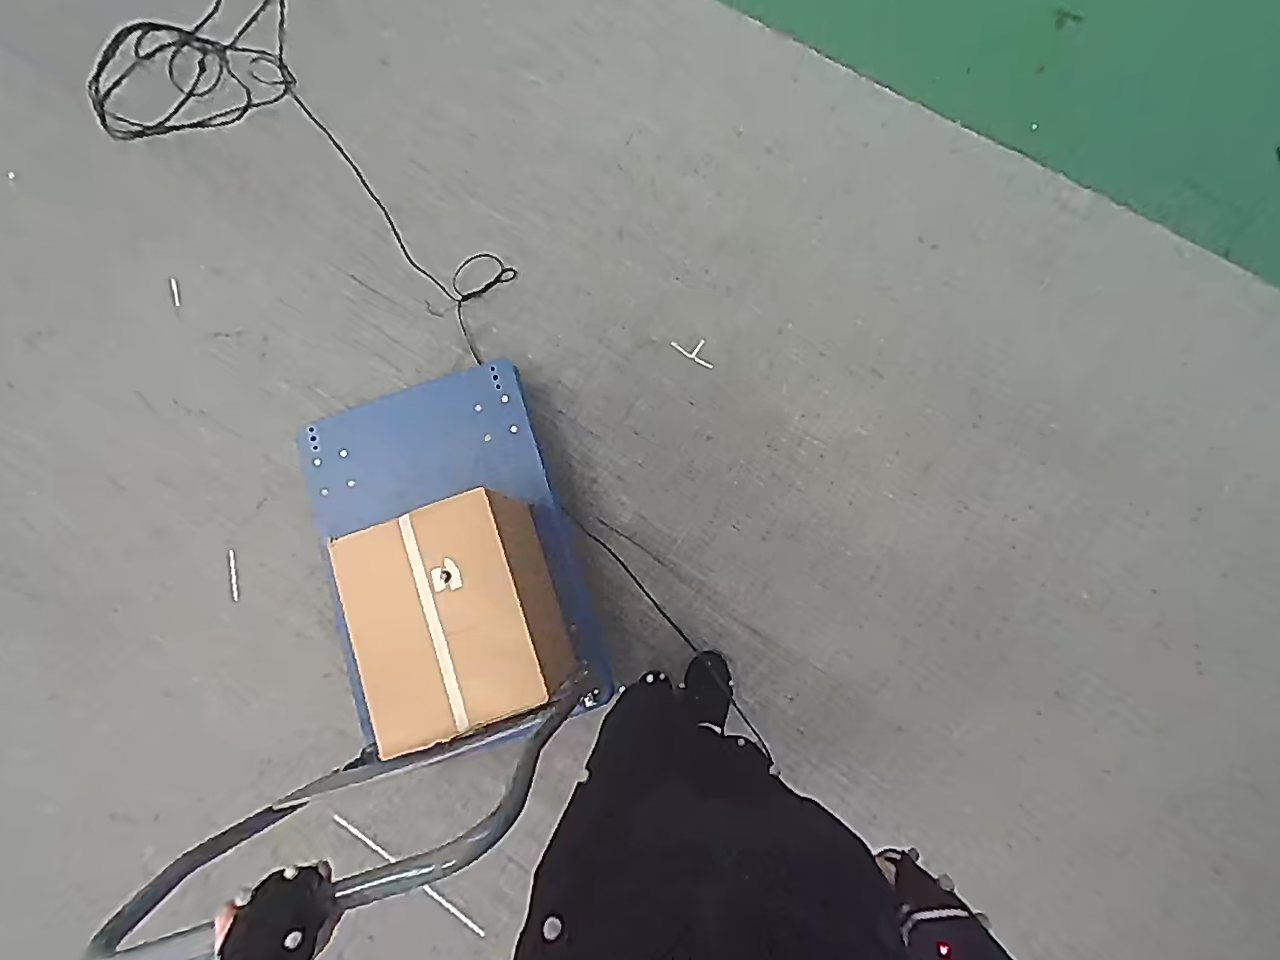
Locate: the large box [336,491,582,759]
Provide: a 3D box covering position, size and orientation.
[{"bbox_3d":[-0.346,0.278,1.114,0.320,0.320,0.408,-19,80,-1],"label":"large box"}]
